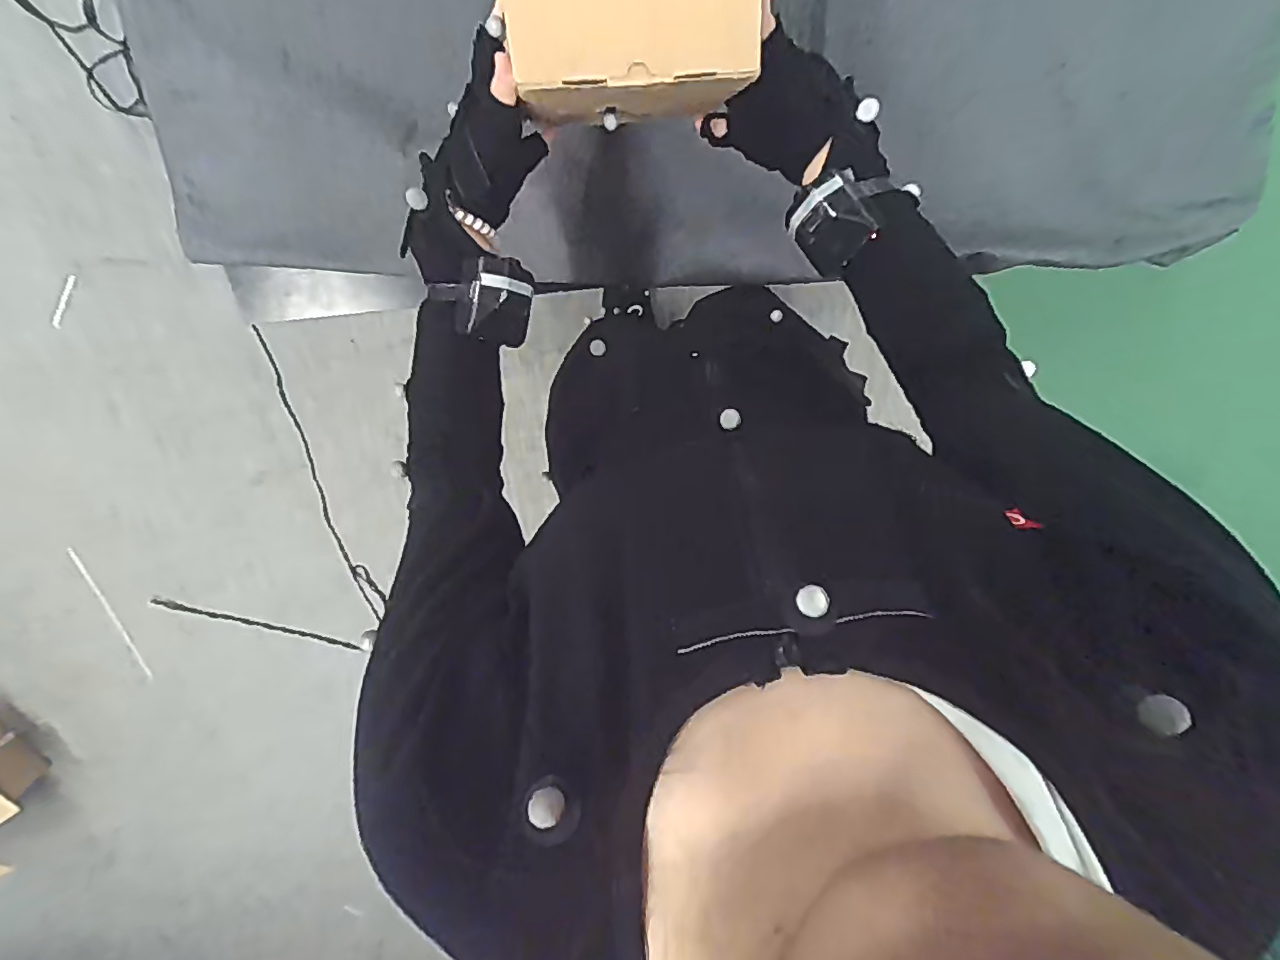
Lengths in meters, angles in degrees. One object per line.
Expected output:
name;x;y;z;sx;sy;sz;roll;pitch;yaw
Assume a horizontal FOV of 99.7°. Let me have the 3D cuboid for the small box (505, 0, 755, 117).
small box;-0.017;-0.385;0.398;0.168;0.176;0.179;-6;118;-5
